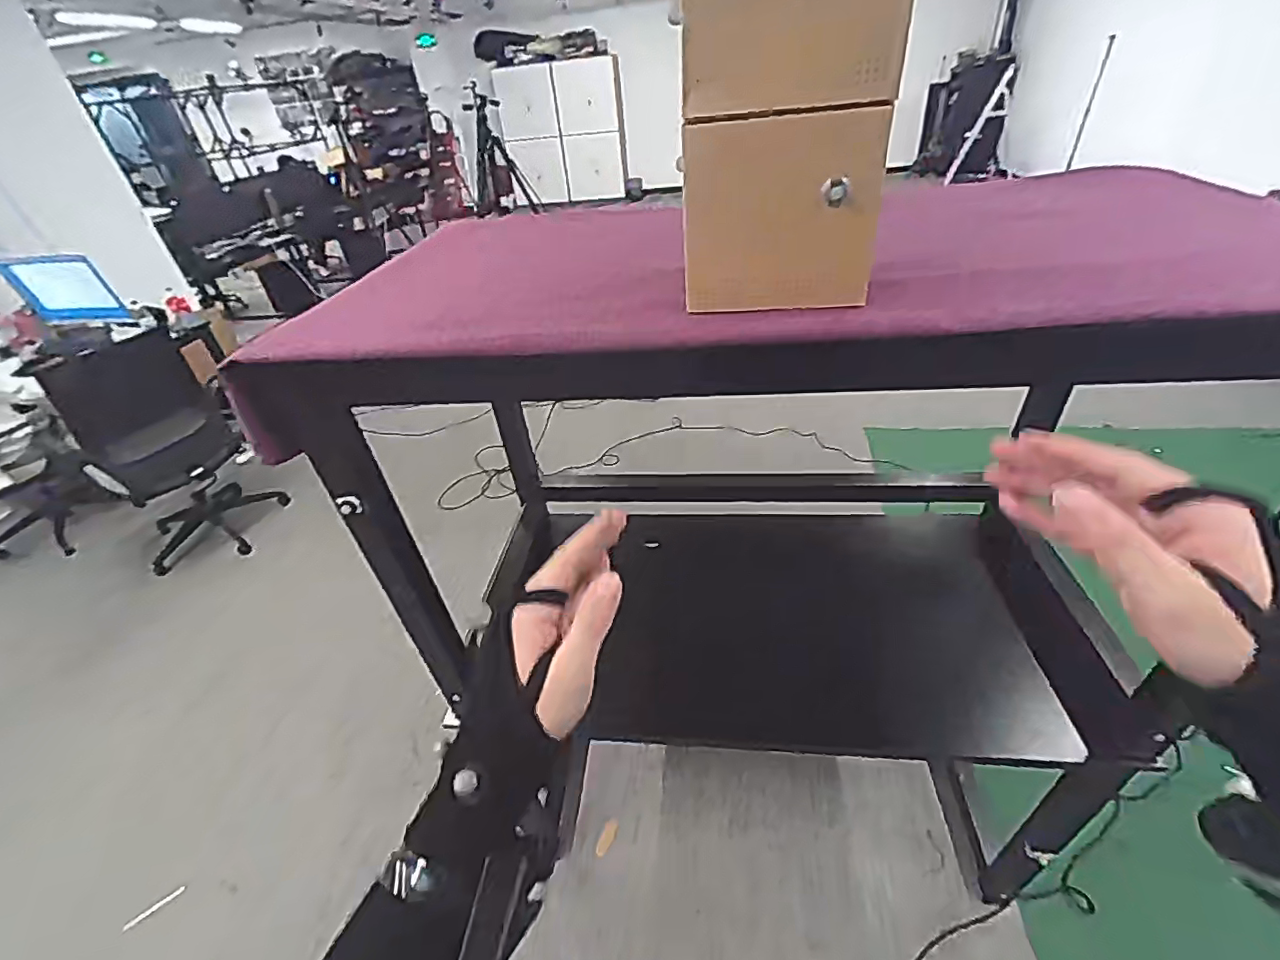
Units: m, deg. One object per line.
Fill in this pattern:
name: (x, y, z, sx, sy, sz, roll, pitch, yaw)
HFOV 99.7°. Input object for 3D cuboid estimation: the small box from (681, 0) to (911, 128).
small box: (0.127, -0.411, 0.462, 0.179, 0.176, 0.168, 0, 37, 11)
